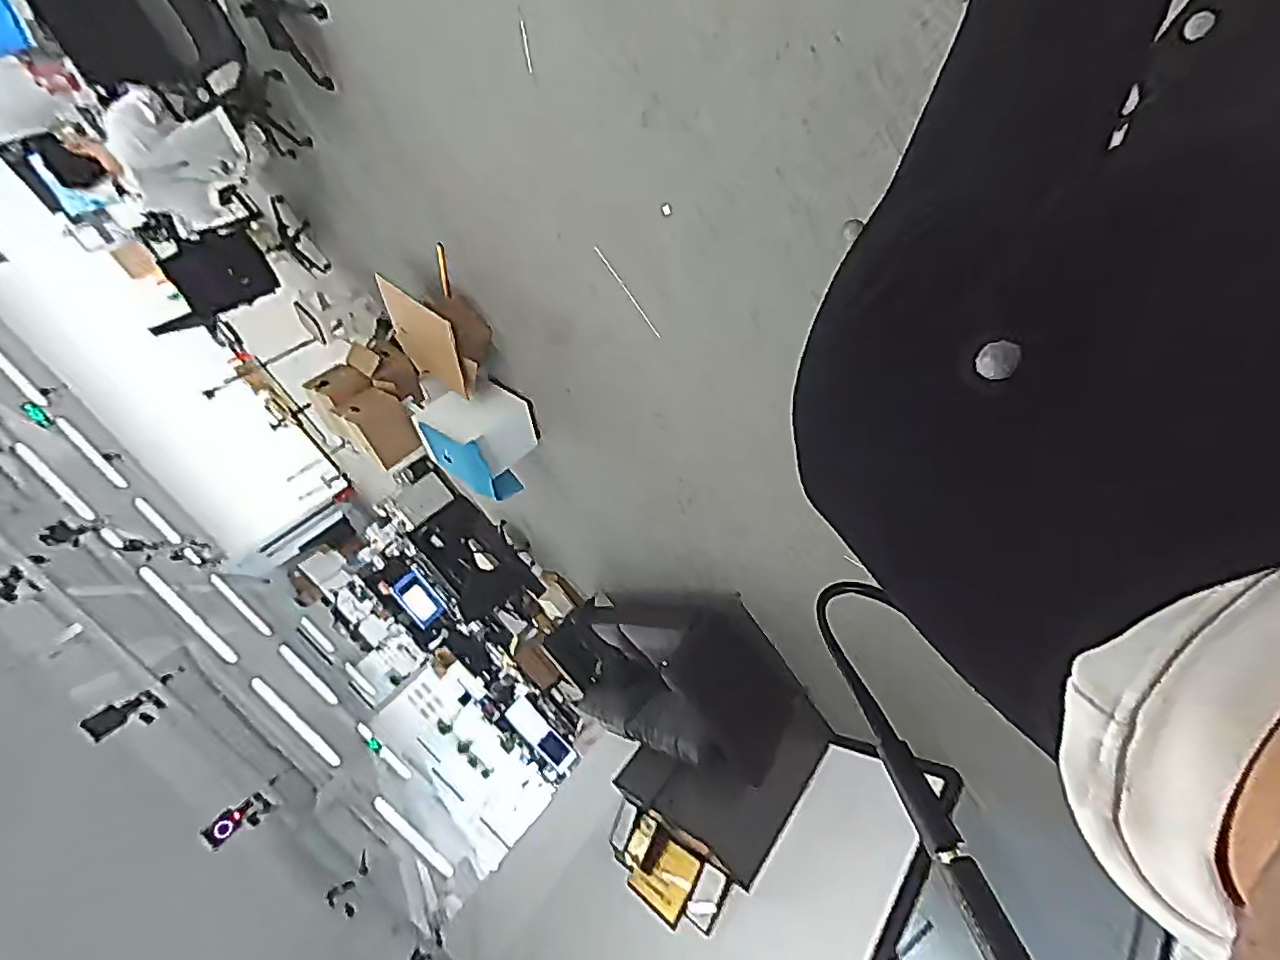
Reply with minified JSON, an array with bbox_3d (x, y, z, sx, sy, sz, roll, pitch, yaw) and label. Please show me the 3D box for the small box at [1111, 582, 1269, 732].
[{"bbox_3d":[0.980,0.302,0.964,0.168,0.176,0.179,-6,121,56],"label":"small box"}]
